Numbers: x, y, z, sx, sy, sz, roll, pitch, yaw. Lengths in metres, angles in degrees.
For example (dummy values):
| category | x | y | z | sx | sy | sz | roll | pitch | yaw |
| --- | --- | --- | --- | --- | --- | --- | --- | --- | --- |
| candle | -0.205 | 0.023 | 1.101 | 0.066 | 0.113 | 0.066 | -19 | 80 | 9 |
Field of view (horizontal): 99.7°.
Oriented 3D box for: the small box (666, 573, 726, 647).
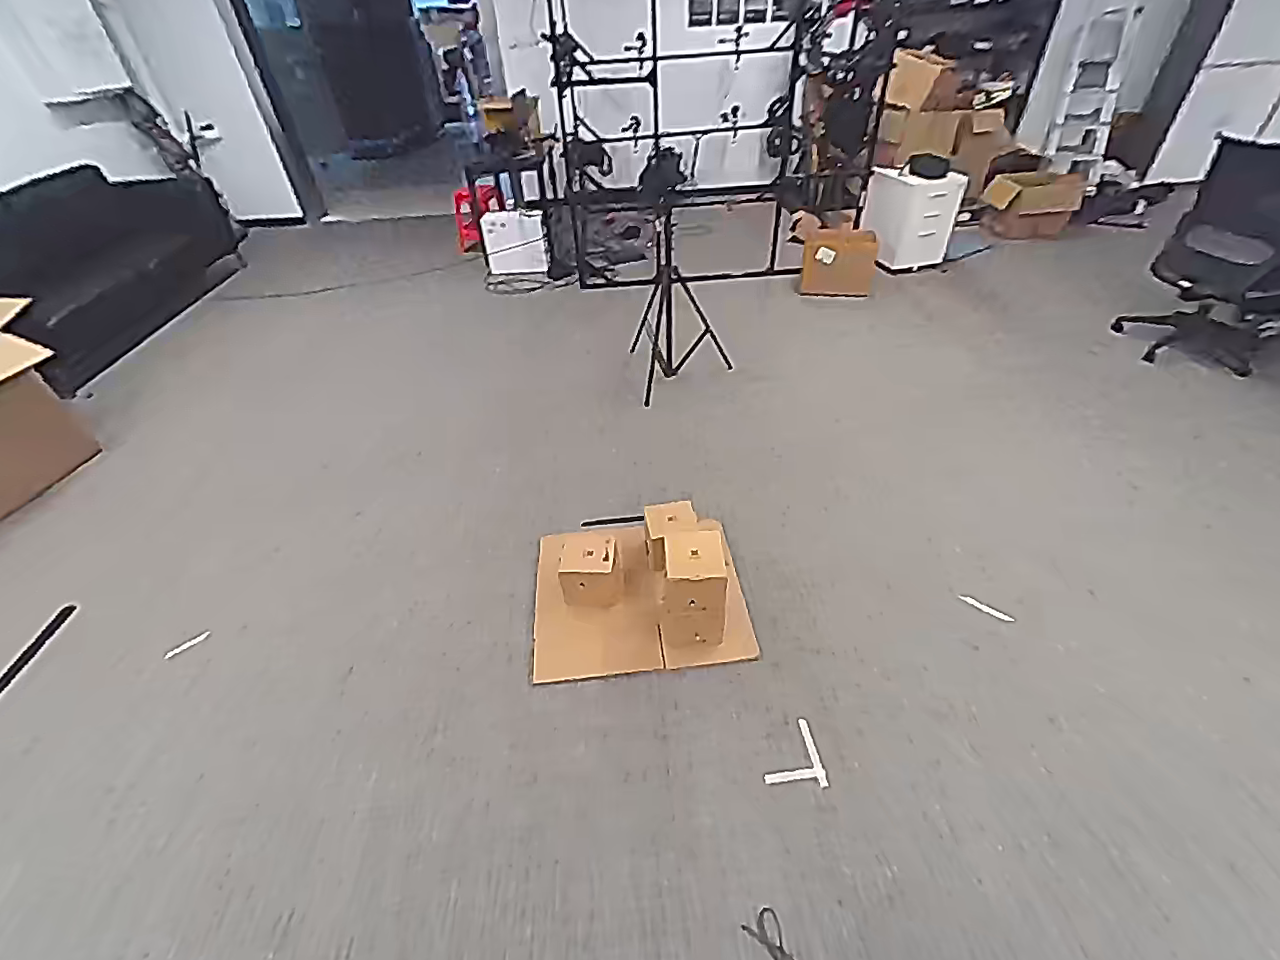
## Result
| category | x | y | z | sx | sy | sz | roll | pitch | yaw |
| --- | --- | --- | --- | --- | --- | --- | --- | --- | --- |
| small box | 0.169 | 0.397 | 1.689 | 0.168 | 0.176 | 0.179 | -6 | 42 | -1 |

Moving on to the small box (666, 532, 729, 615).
| category | x | y | z | sx | sy | sz | roll | pitch | yaw |
| --- | --- | --- | --- | --- | --- | --- | --- | --- | --- |
| small box | 0.163 | 0.274 | 1.582 | 0.168 | 0.176 | 0.179 | -3 | 42 | 1 |

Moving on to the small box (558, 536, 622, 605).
| category | x | y | z | sx | sy | sz | roll | pitch | yaw |
| --- | --- | --- | --- | --- | --- | --- | --- | --- | --- |
| small box | -0.162 | 0.305 | 1.818 | 0.179 | 0.176 | 0.168 | -1 | 41 | 6 |

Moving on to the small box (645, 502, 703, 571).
| category | x | y | z | sx | sy | sz | roll | pitch | yaw |
| --- | --- | --- | --- | --- | --- | --- | --- | --- | --- |
| small box | 0.118 | 0.202 | 1.923 | 0.179 | 0.176 | 0.168 | -8 | 40 | -6 |
